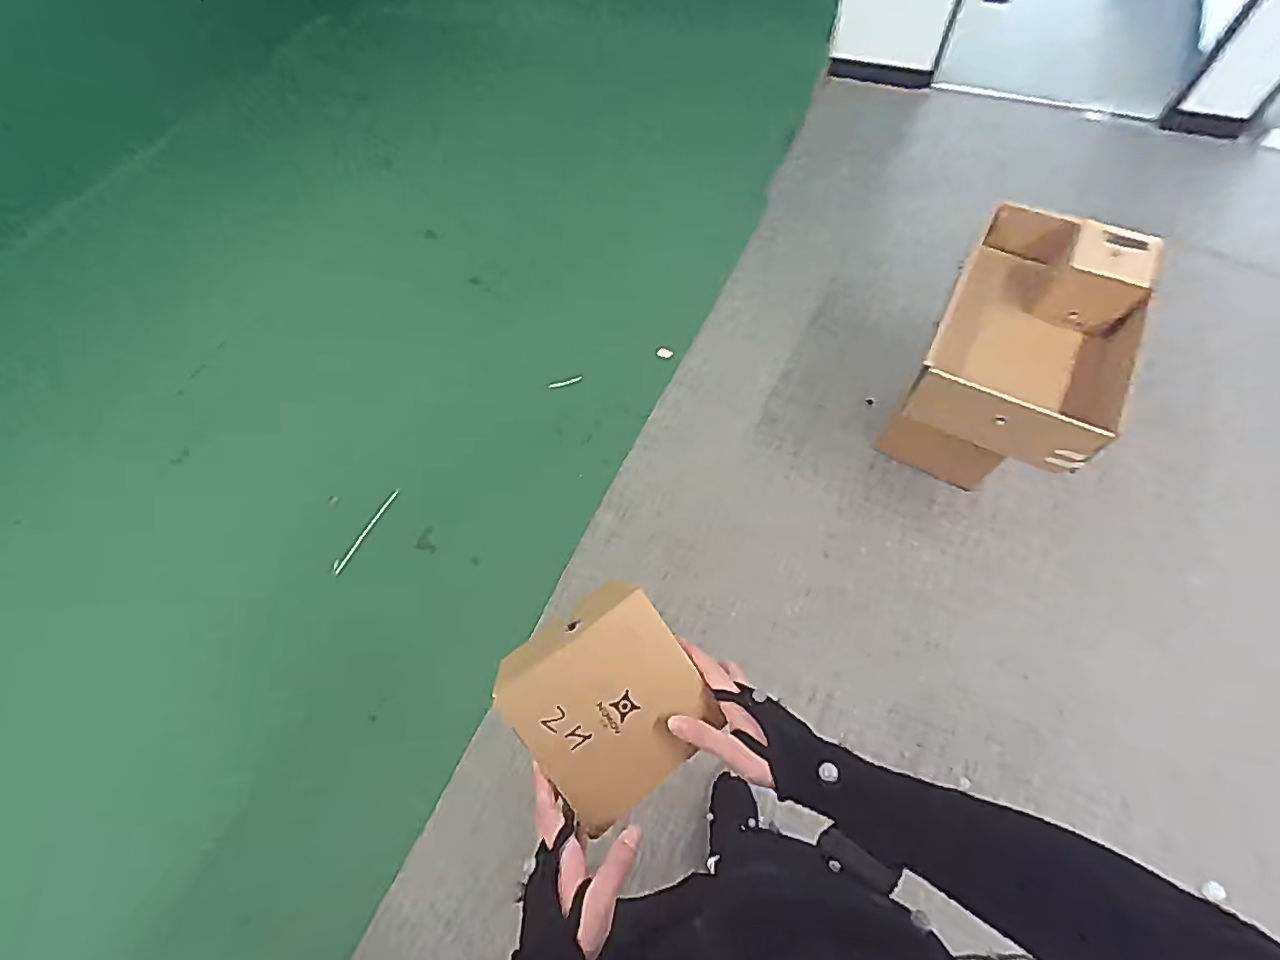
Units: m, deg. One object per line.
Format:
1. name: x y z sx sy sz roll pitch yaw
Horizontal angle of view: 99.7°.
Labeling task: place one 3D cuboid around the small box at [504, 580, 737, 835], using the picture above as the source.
1. small box: -0.031 0.225 0.595 0.179 0.176 0.168 -34 91 -12
